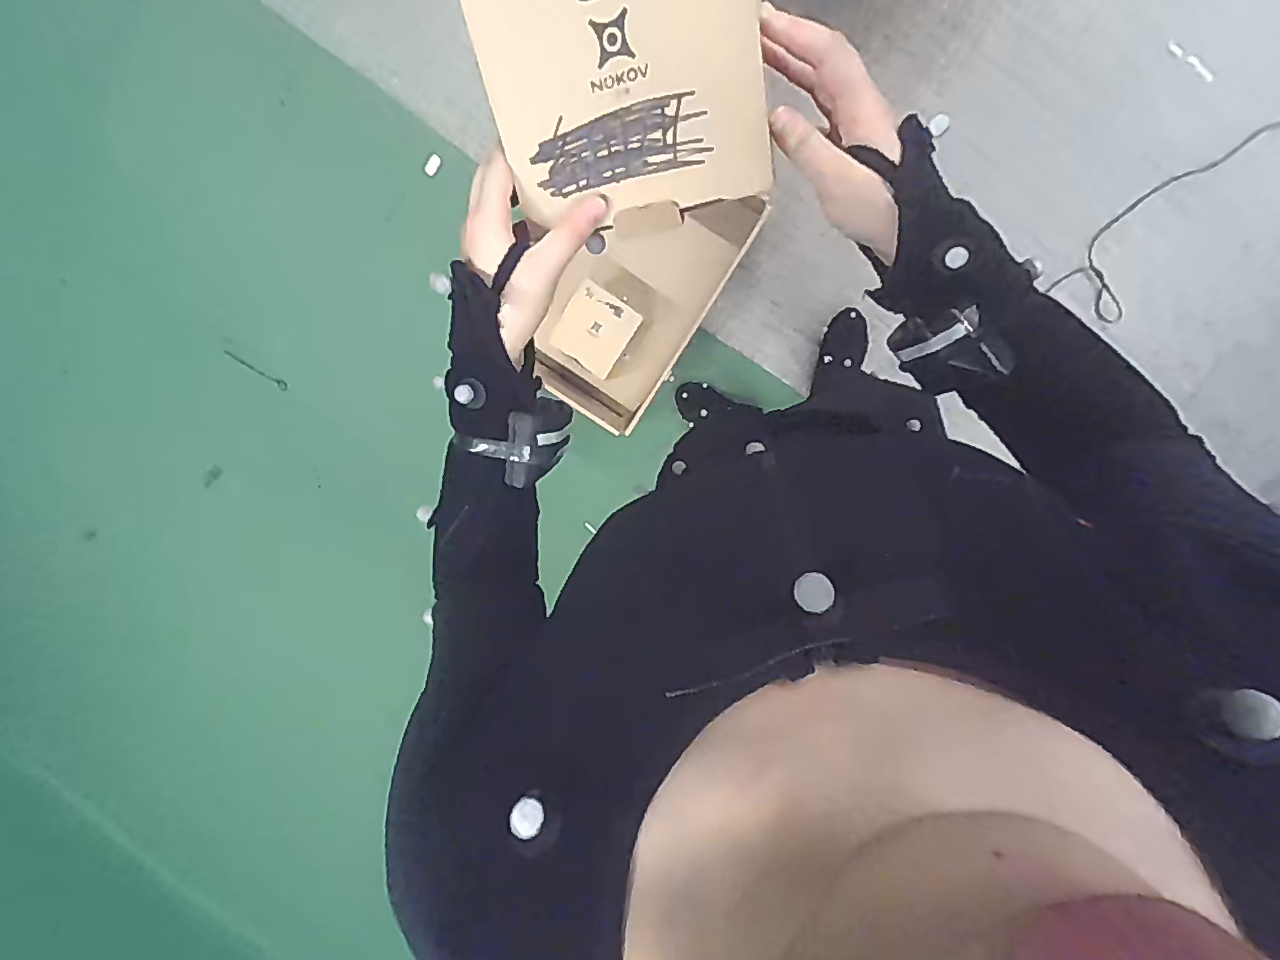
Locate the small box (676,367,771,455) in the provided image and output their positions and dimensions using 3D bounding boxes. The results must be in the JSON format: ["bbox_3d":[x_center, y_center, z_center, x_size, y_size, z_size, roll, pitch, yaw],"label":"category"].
[{"bbox_3d":[0.204,-0.167,1.343,0.176,0.168,0.179,-4,79,-17],"label":"small box"}]

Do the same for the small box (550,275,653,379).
[{"bbox_3d":[-0.085,-0.365,1.313,0.168,0.176,0.179,35,106,1],"label":"small box"}]
